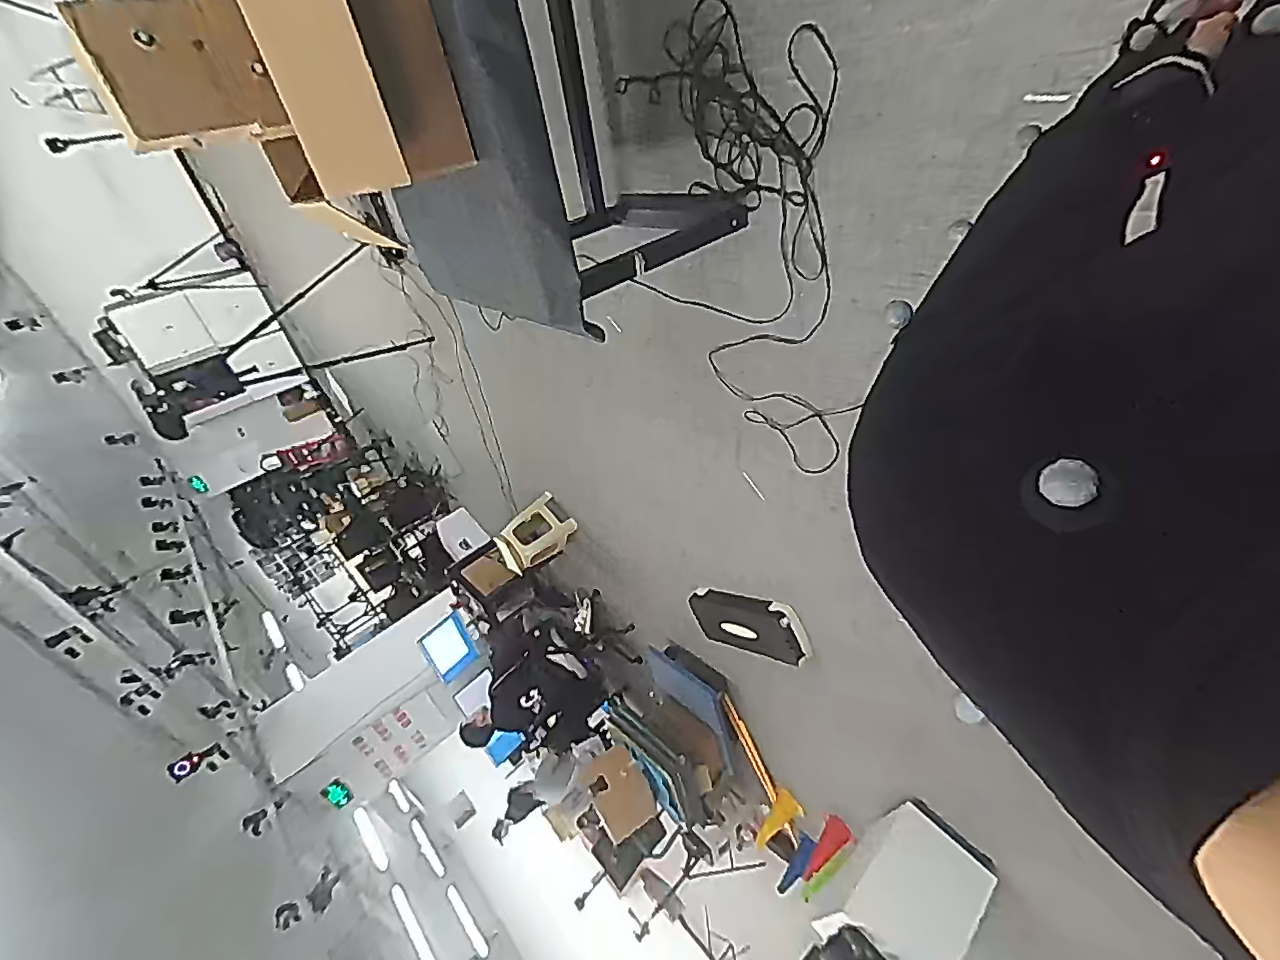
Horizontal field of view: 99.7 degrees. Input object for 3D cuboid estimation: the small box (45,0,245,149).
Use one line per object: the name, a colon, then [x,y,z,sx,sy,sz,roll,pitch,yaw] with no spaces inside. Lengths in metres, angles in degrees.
small box: [-0.759,-0.637,0.846,0.179,0.176,0.168,24,138,44]
